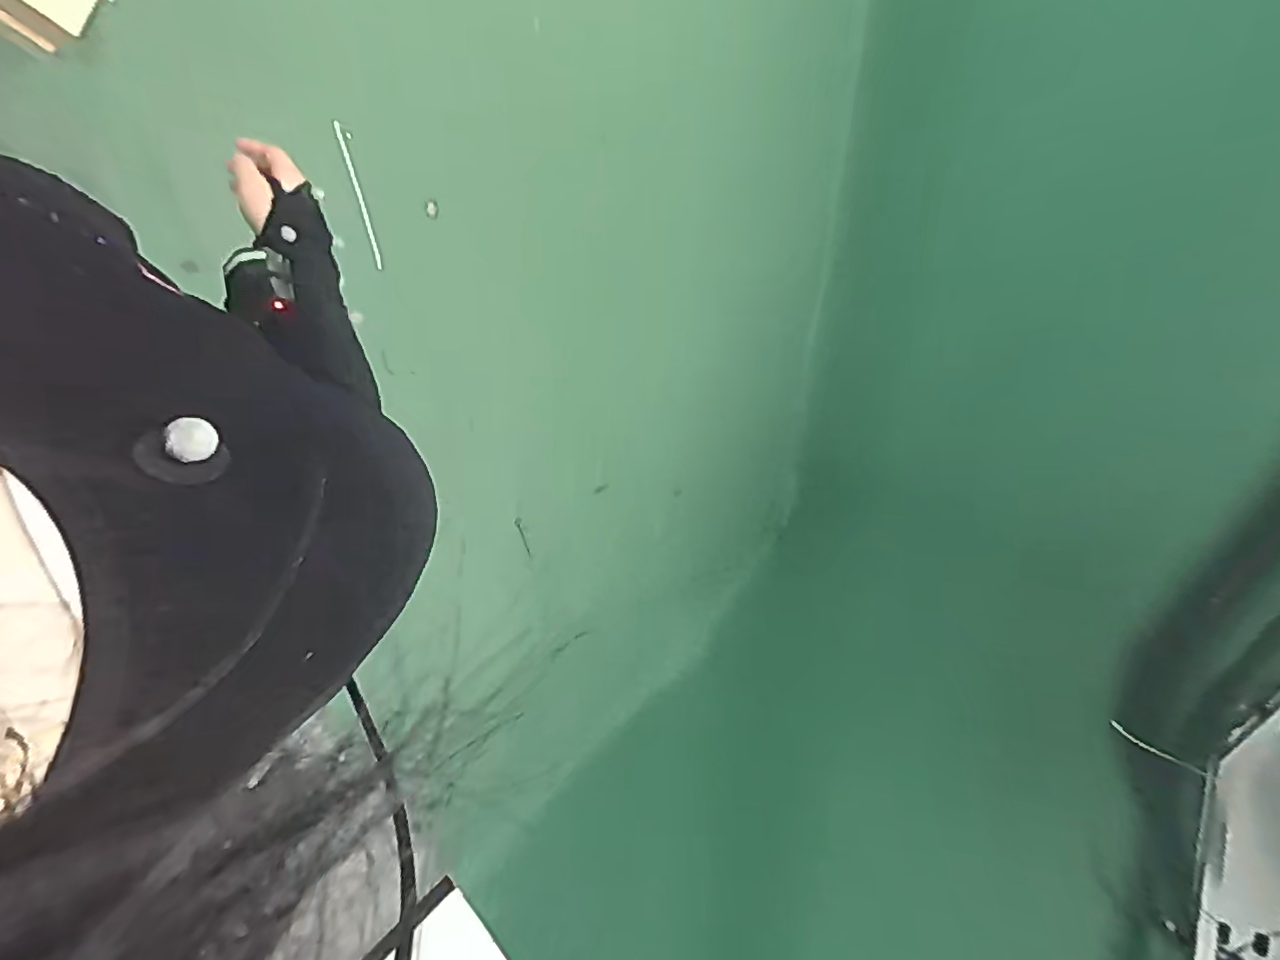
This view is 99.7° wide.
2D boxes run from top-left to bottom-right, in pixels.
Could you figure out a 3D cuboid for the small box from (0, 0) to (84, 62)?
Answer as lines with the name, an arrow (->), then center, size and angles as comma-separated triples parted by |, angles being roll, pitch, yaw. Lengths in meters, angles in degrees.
small box -> -0.934, -0.753, 0.785 | 0.168, 0.176, 0.179 | 27, 90, -54
